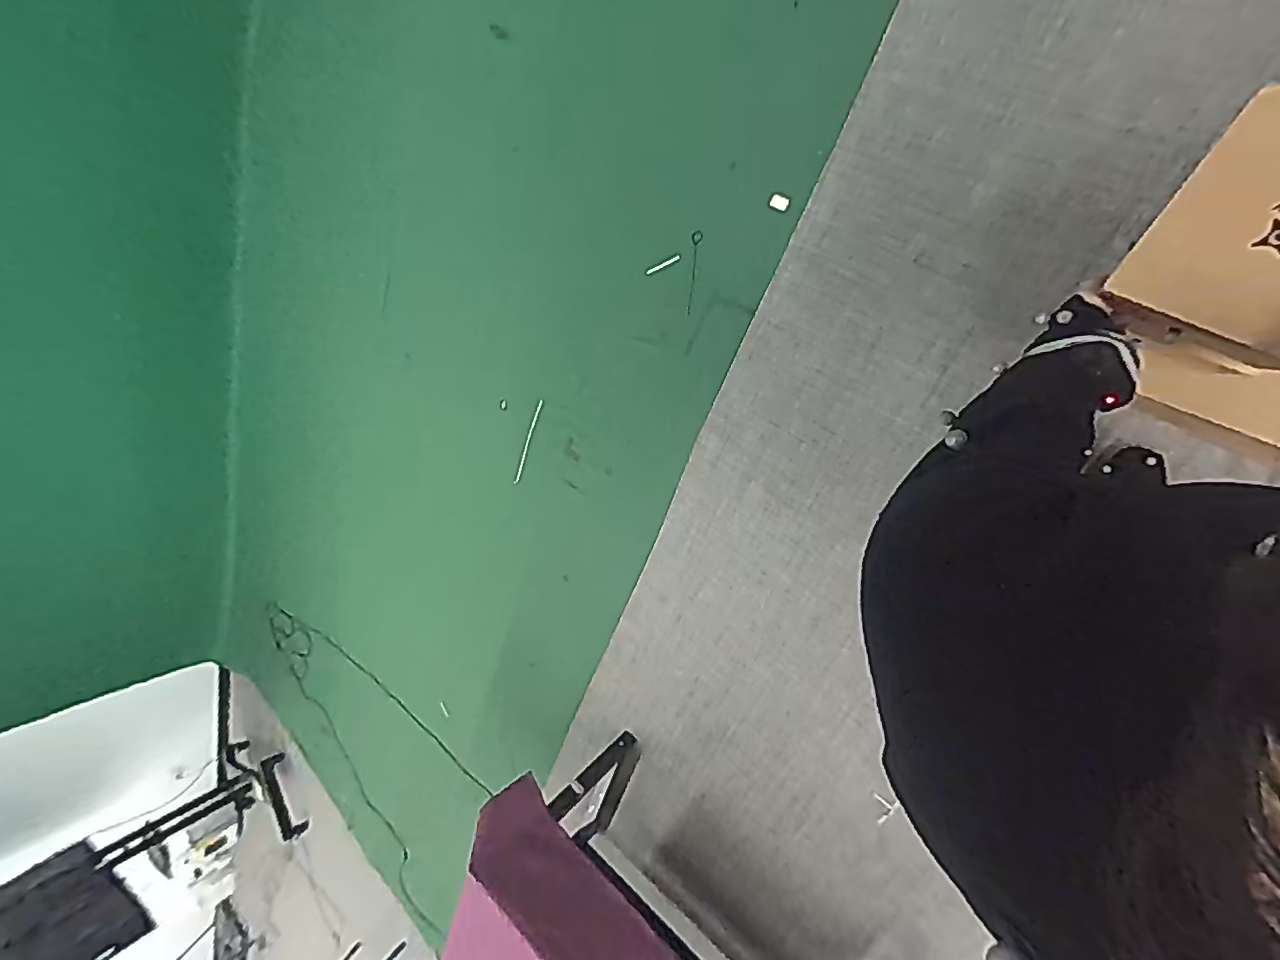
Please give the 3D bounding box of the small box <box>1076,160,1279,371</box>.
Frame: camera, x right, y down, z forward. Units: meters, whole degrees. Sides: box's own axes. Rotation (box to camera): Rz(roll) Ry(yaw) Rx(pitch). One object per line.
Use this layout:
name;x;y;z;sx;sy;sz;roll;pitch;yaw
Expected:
small box;0.669;-0.245;0.651;0.168;0.176;0.179;35;117;24
